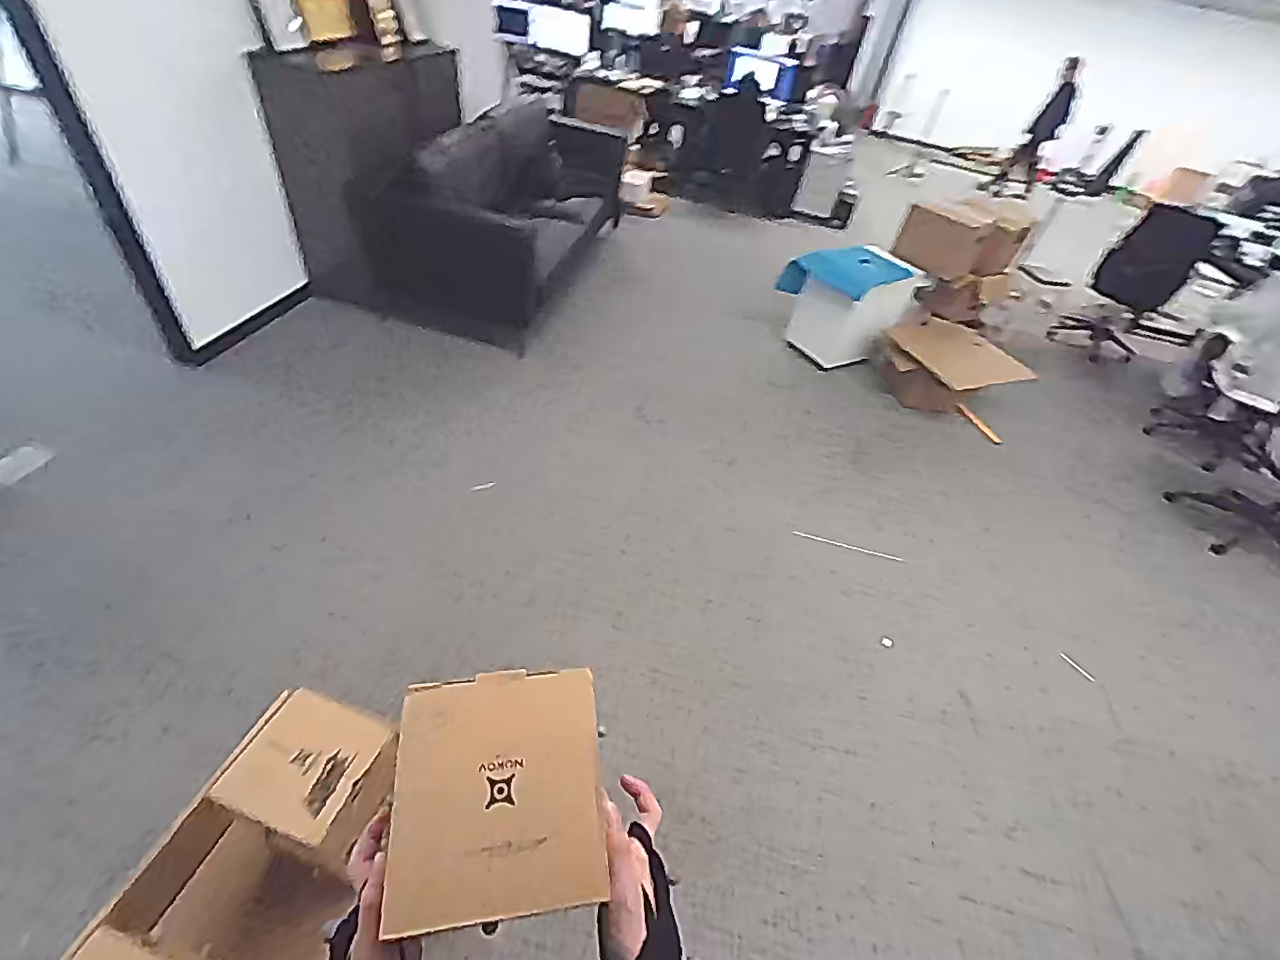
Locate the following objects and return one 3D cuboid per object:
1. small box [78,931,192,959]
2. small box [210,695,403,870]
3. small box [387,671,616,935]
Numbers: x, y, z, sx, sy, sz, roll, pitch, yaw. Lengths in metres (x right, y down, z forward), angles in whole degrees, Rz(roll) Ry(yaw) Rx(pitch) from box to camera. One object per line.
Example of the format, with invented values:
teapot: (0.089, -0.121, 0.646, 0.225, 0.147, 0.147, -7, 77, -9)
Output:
small box: (-0.587, 0.663, 0.618, 0.179, 0.176, 0.168, 20, 44, 8)
small box: (-0.498, 0.473, 0.840, 0.179, 0.176, 0.168, 19, 43, 8)
small box: (-0.116, 0.293, 0.503, 0.168, 0.176, 0.179, -2, 57, -9)
